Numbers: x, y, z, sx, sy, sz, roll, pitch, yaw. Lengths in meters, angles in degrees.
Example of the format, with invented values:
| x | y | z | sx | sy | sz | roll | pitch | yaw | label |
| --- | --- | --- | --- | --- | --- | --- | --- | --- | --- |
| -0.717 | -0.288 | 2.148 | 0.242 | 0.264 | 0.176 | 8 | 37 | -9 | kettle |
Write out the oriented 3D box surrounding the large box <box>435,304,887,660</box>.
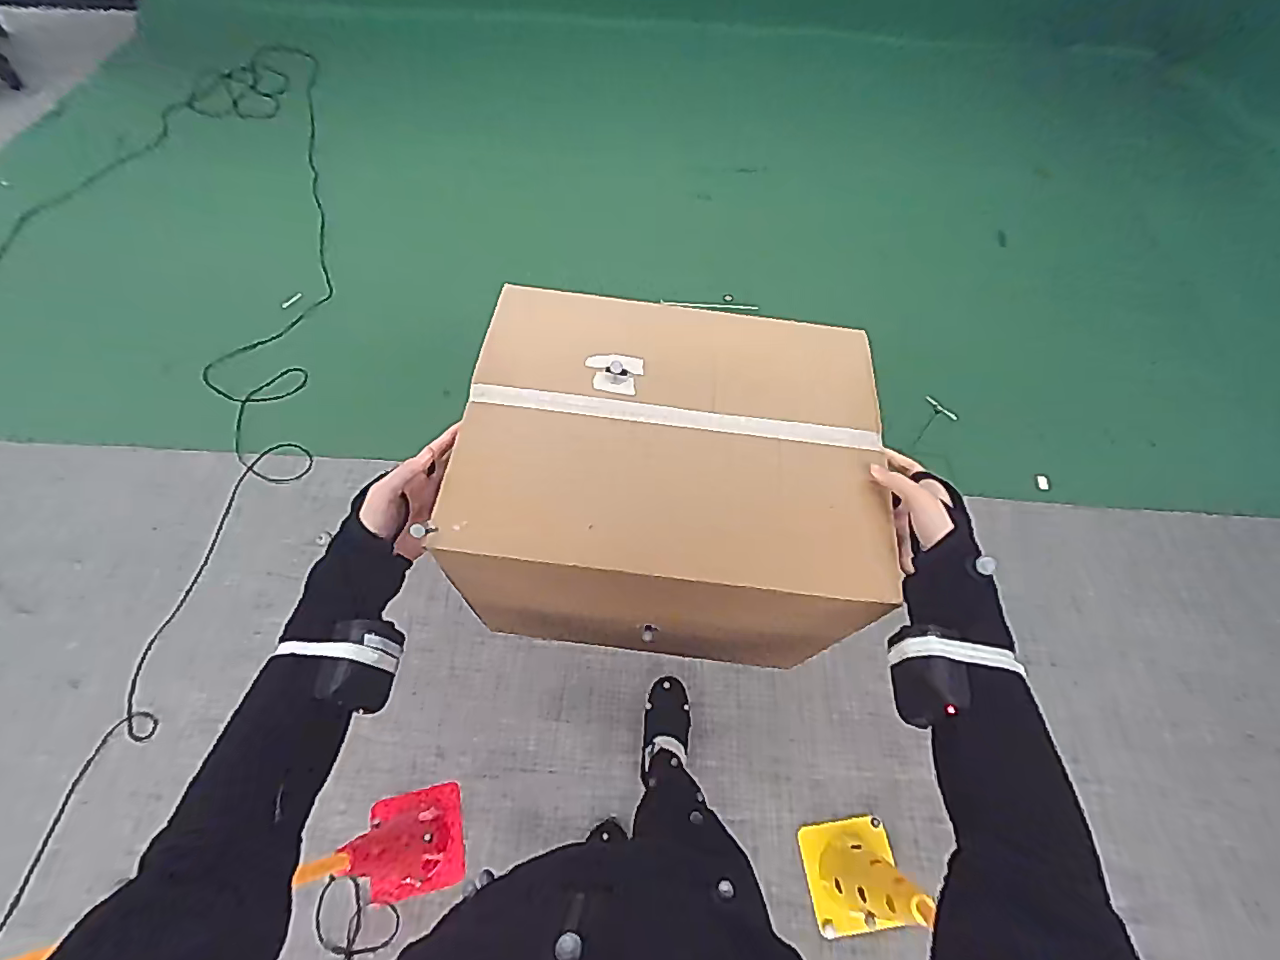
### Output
| x | y | z | sx | sy | sz | roll | pitch | yaw | label |
| --- | --- | --- | --- | --- | --- | --- | --- | --- | --- |
| 0.026 | 0.024 | 0.669 | 0.408 | 0.320 | 0.320 | 7 | 60 | 0 | large box |
